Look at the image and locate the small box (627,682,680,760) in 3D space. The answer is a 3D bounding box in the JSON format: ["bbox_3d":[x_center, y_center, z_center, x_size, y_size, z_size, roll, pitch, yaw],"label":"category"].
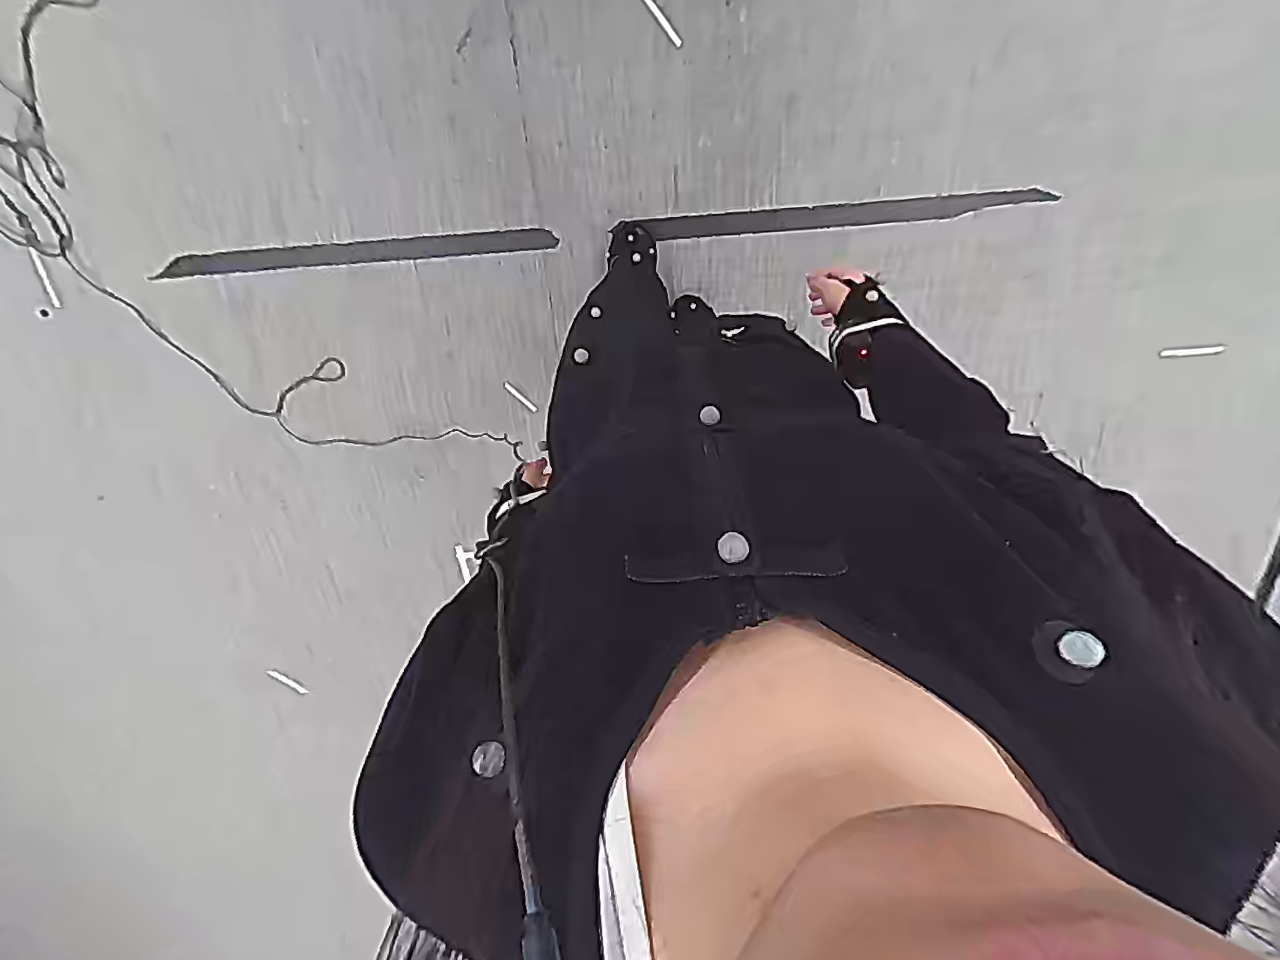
[{"bbox_3d":[0.045,0.779,1.760,0.168,0.176,0.179,-2,112,3],"label":"small box"}]
